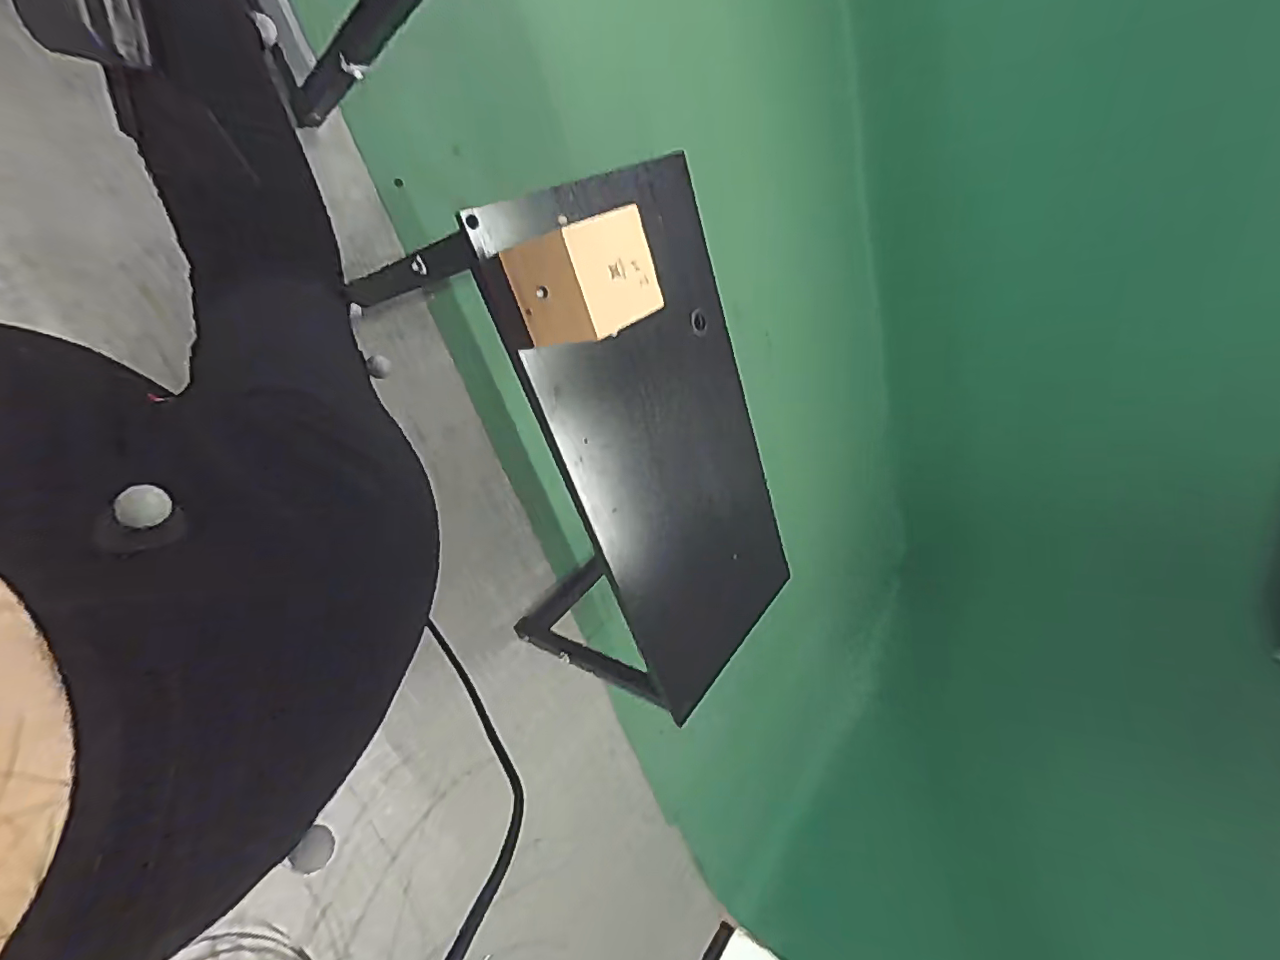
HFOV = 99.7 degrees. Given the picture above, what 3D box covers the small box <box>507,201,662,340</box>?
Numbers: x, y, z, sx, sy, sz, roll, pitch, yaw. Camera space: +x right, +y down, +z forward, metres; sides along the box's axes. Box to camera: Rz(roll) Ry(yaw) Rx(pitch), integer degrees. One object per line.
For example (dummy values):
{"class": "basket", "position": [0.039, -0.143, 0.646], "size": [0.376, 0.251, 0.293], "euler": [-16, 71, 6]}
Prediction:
{"class": "small box", "position": [-0.096, -0.341, 0.898], "size": [0.179, 0.176, 0.168], "euler": [-39, 123, -36]}
